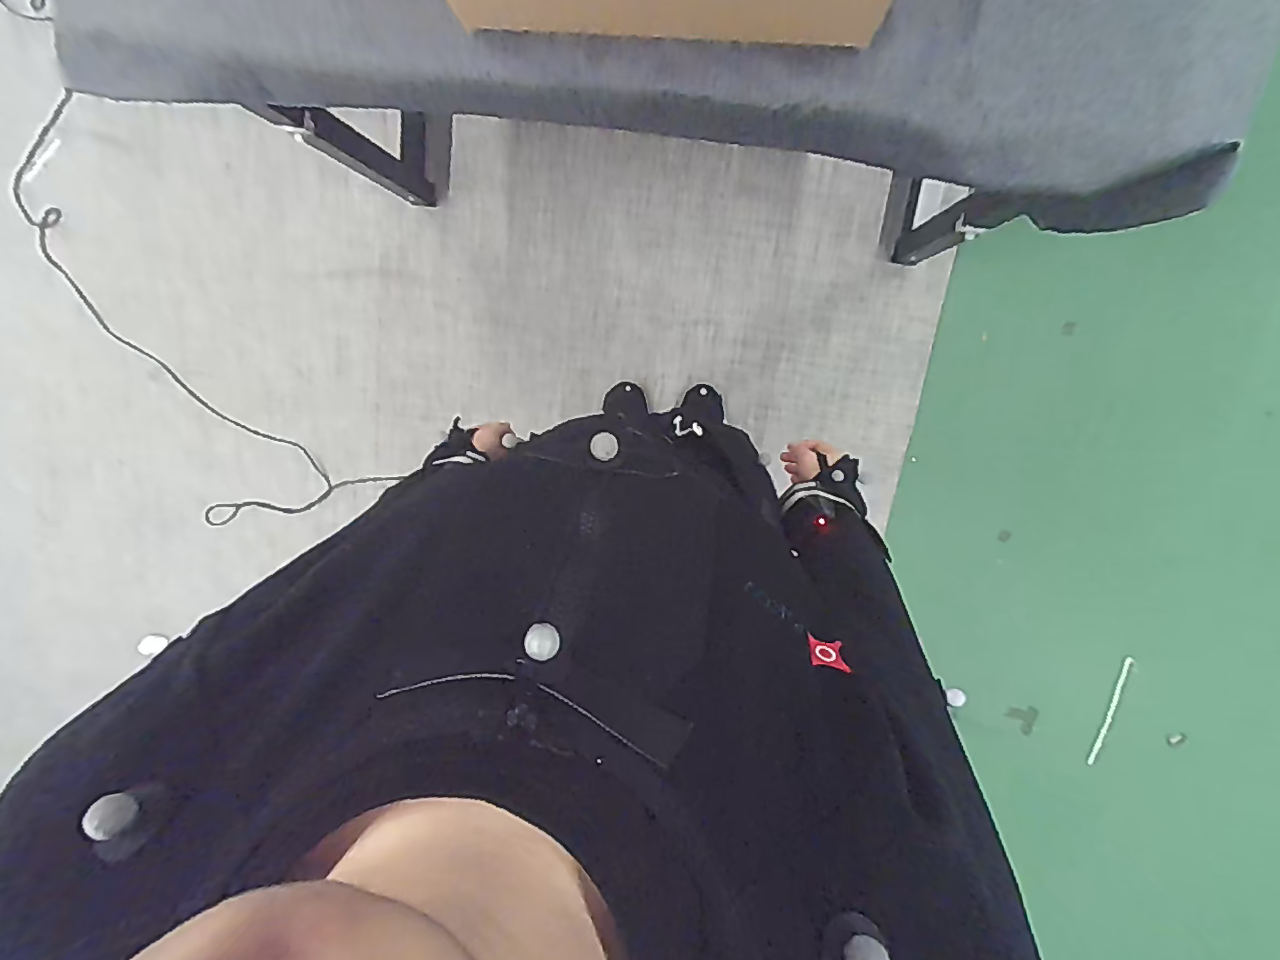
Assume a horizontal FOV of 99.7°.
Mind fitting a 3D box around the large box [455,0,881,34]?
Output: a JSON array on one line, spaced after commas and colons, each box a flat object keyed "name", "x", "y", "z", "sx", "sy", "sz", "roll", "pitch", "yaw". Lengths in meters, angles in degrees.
[{"name": "large box", "x": 0.020, "y": -0.566, "z": 0.364, "sx": 0.408, "sy": 0.320, "sz": 0.320, "roll": 5, "pitch": 101, "yaw": 3}]
